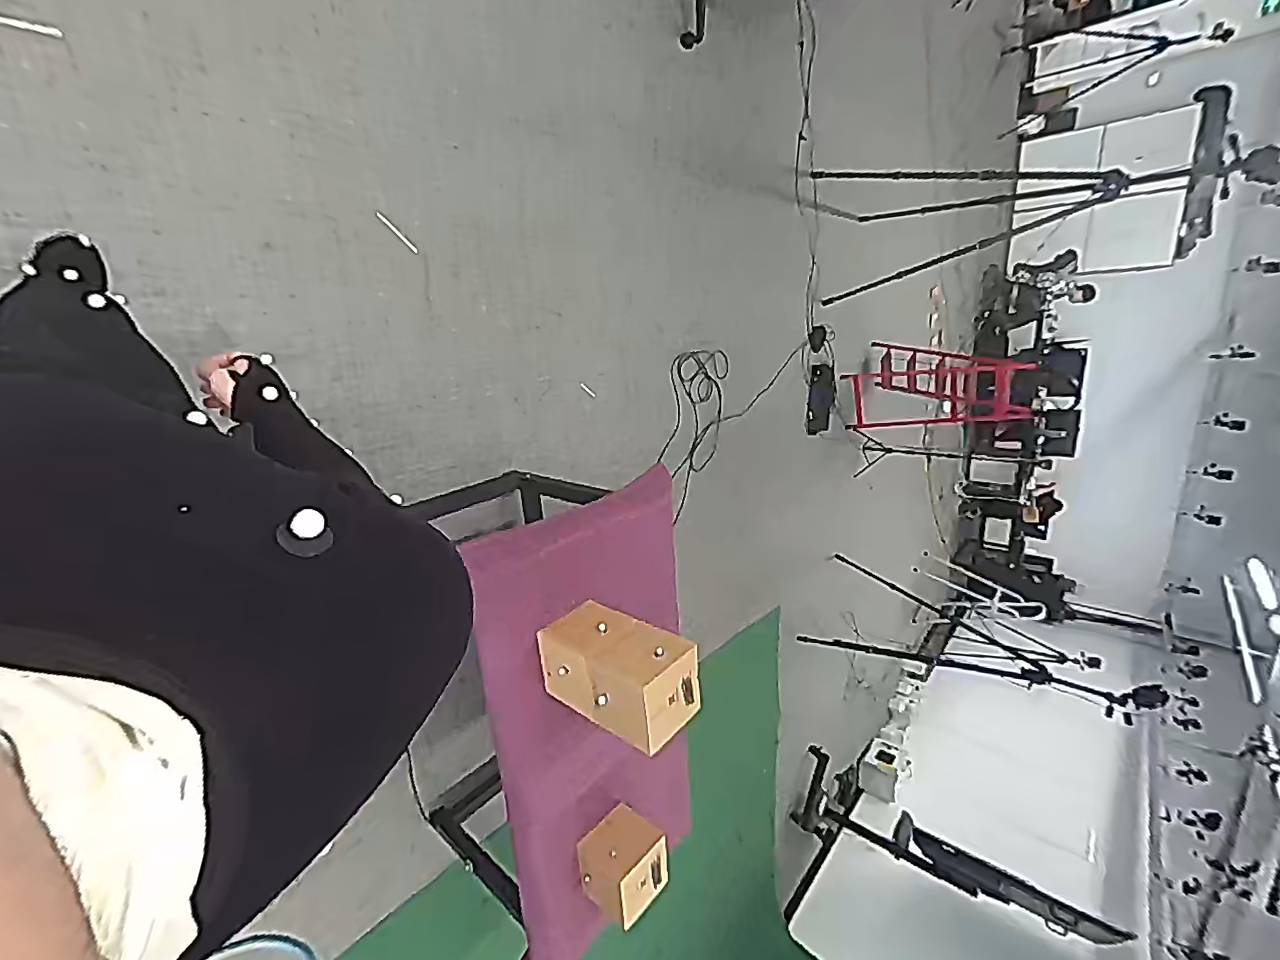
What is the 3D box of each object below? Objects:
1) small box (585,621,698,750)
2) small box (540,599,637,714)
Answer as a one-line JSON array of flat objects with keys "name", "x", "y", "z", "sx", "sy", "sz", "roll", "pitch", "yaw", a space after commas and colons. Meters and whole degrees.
[{"name": "small box", "x": 0.005, "y": 0.428, "z": 1.162, "sx": 0.179, "sy": 0.176, "sz": 0.168, "roll": -22, "pitch": 114, "yaw": -44}, {"name": "small box", "x": -0.119, "y": 0.404, "z": 1.267, "sx": 0.179, "sy": 0.176, "sz": 0.168, "roll": -23, "pitch": 115, "yaw": -45}]
